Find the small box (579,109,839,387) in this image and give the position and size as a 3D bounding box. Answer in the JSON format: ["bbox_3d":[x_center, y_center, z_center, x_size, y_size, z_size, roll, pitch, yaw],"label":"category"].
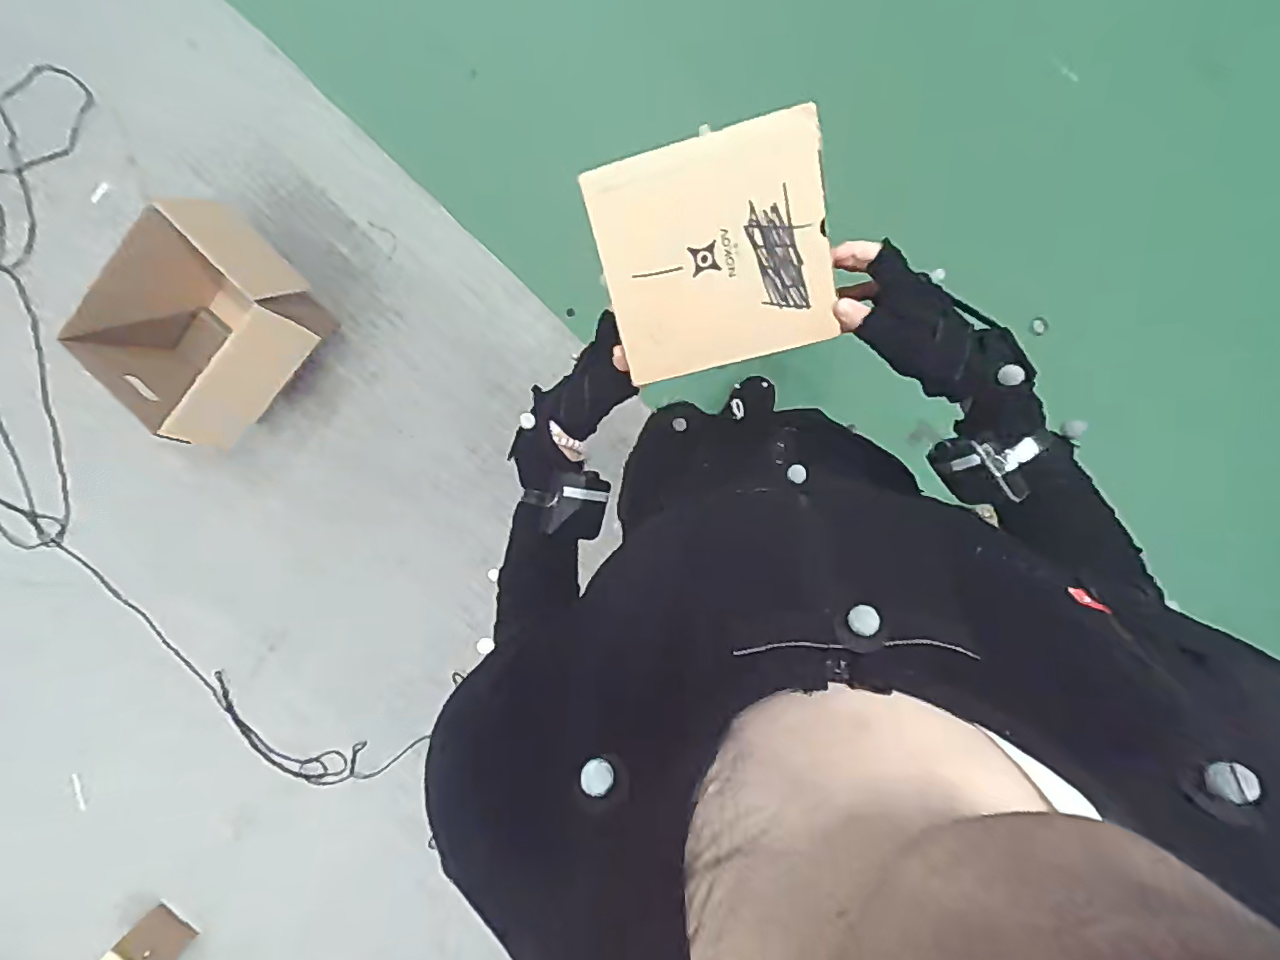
[{"bbox_3d":[0.059,-0.197,0.484,0.179,0.176,0.168,-12,110,8],"label":"small box"}]

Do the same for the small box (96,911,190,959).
[{"bbox_3d":[-1.623,1.545,1.739,0.179,0.176,0.168,42,98,-4],"label":"small box"}]
